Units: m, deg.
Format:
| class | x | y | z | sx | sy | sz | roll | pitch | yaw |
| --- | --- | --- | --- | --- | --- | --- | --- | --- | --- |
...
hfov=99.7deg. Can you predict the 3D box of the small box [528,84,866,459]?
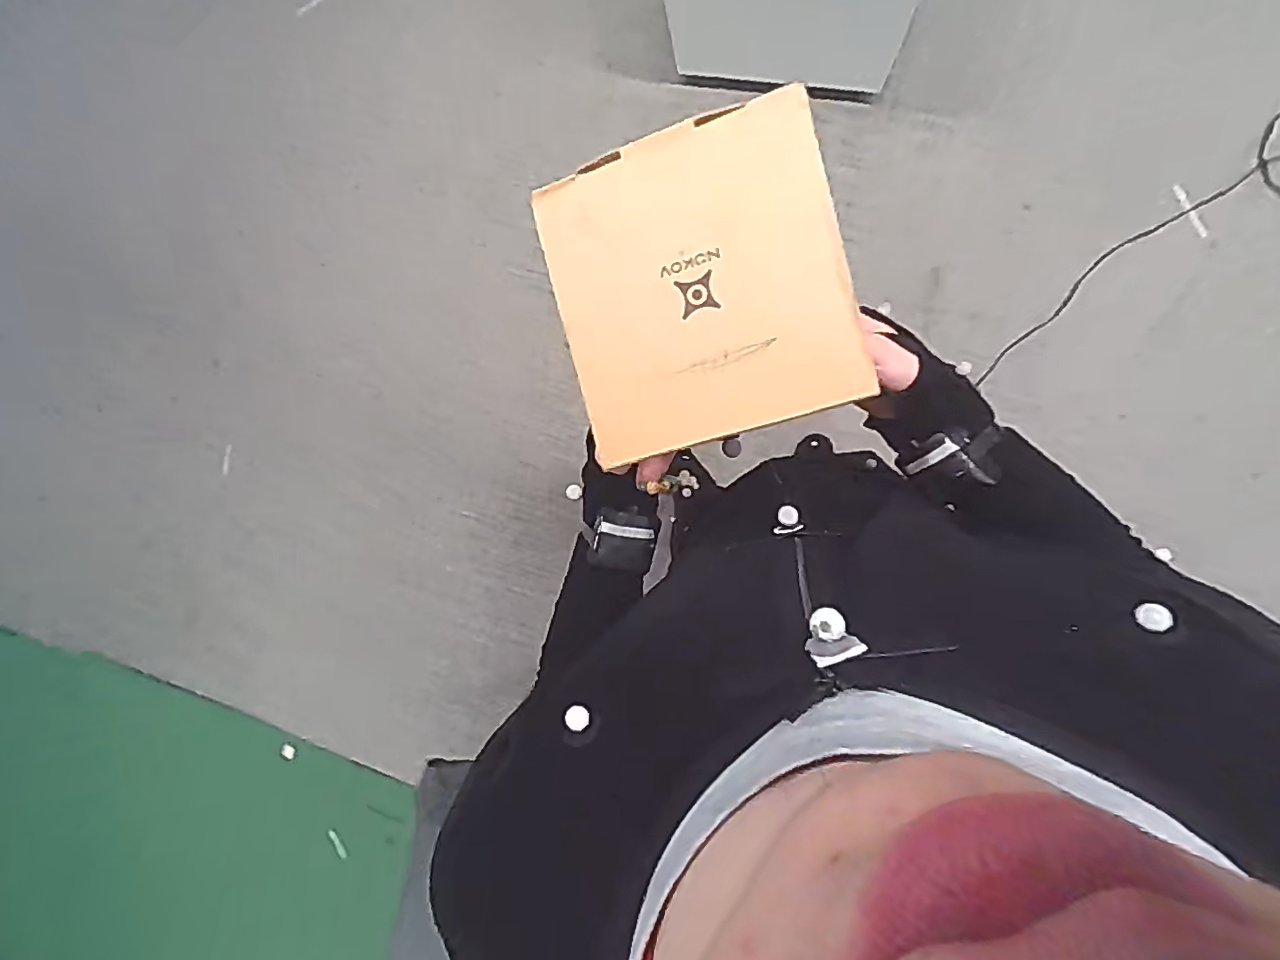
| class | x | y | z | sx | sy | sz | roll | pitch | yaw |
| --- | --- | --- | --- | --- | --- | --- | --- | --- | --- |
| small box | 0.045 | -0.121 | 0.389 | 0.168 | 0.176 | 0.179 | -14 | 94 | 14 |
